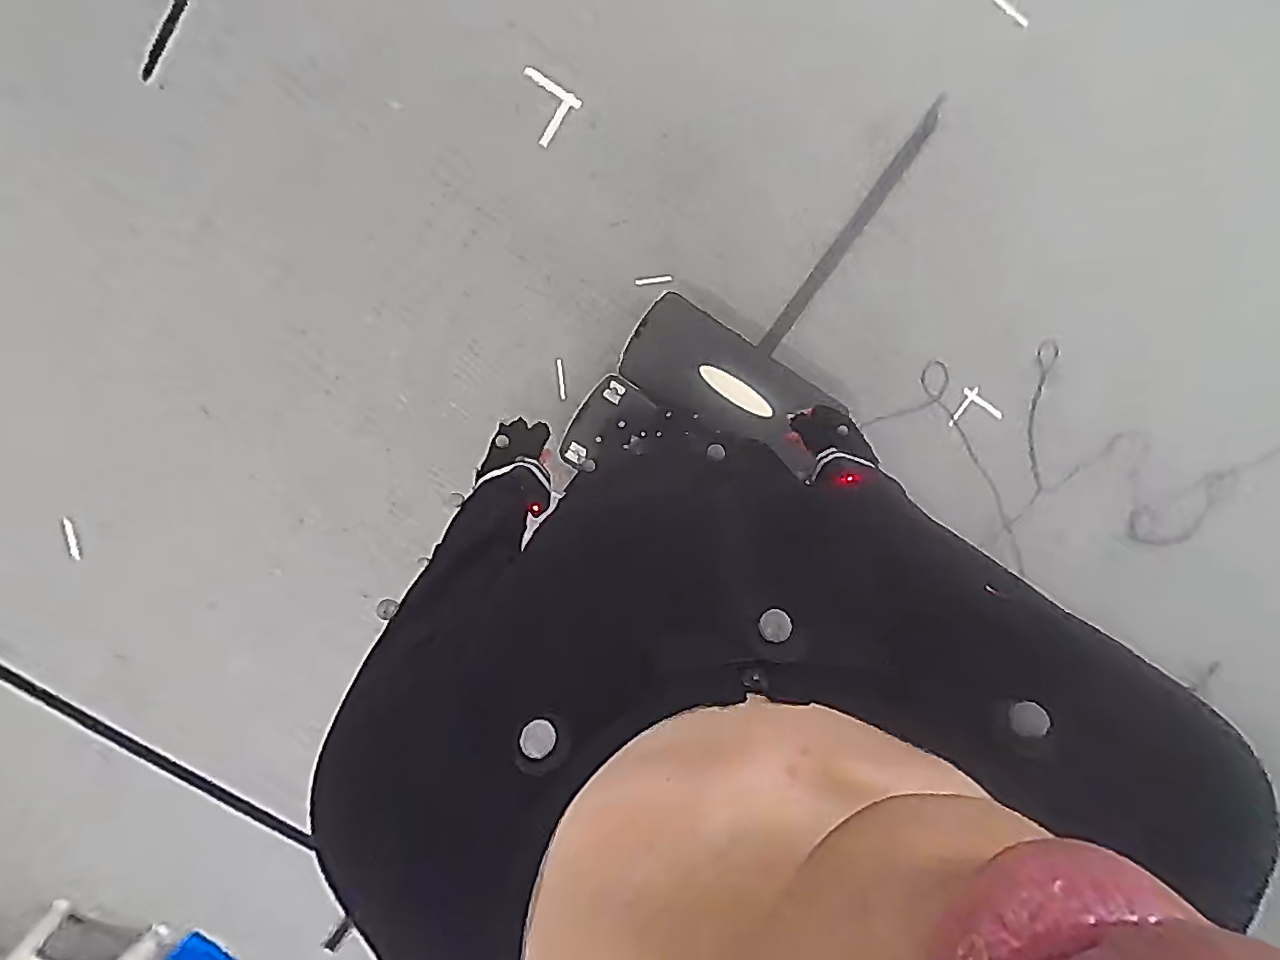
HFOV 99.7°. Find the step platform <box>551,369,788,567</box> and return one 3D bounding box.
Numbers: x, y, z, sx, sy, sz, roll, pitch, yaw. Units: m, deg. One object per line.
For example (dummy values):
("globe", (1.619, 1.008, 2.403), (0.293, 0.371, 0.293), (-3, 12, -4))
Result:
("step platform", (0.083, -0.033, 1.576), (0.684, 0.204, 0.286), (32, 97, -4))
